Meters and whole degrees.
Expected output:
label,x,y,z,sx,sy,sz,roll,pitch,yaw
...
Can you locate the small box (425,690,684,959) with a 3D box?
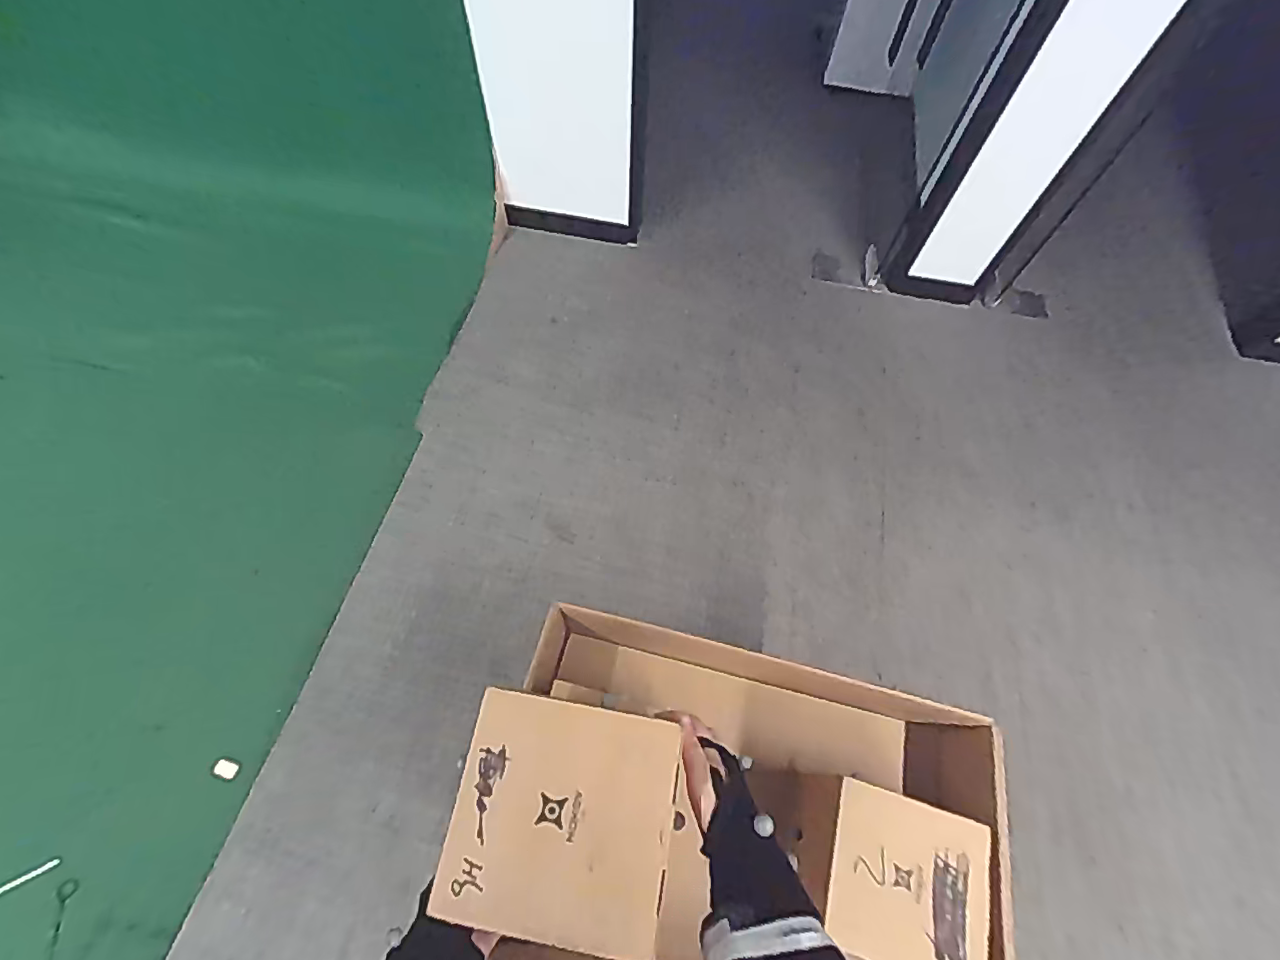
label,x,y,z,sx,sy,sz,roll,pitch,yaw
small box,-0.062,0.296,0.499,0.179,0.176,0.168,9,67,4
